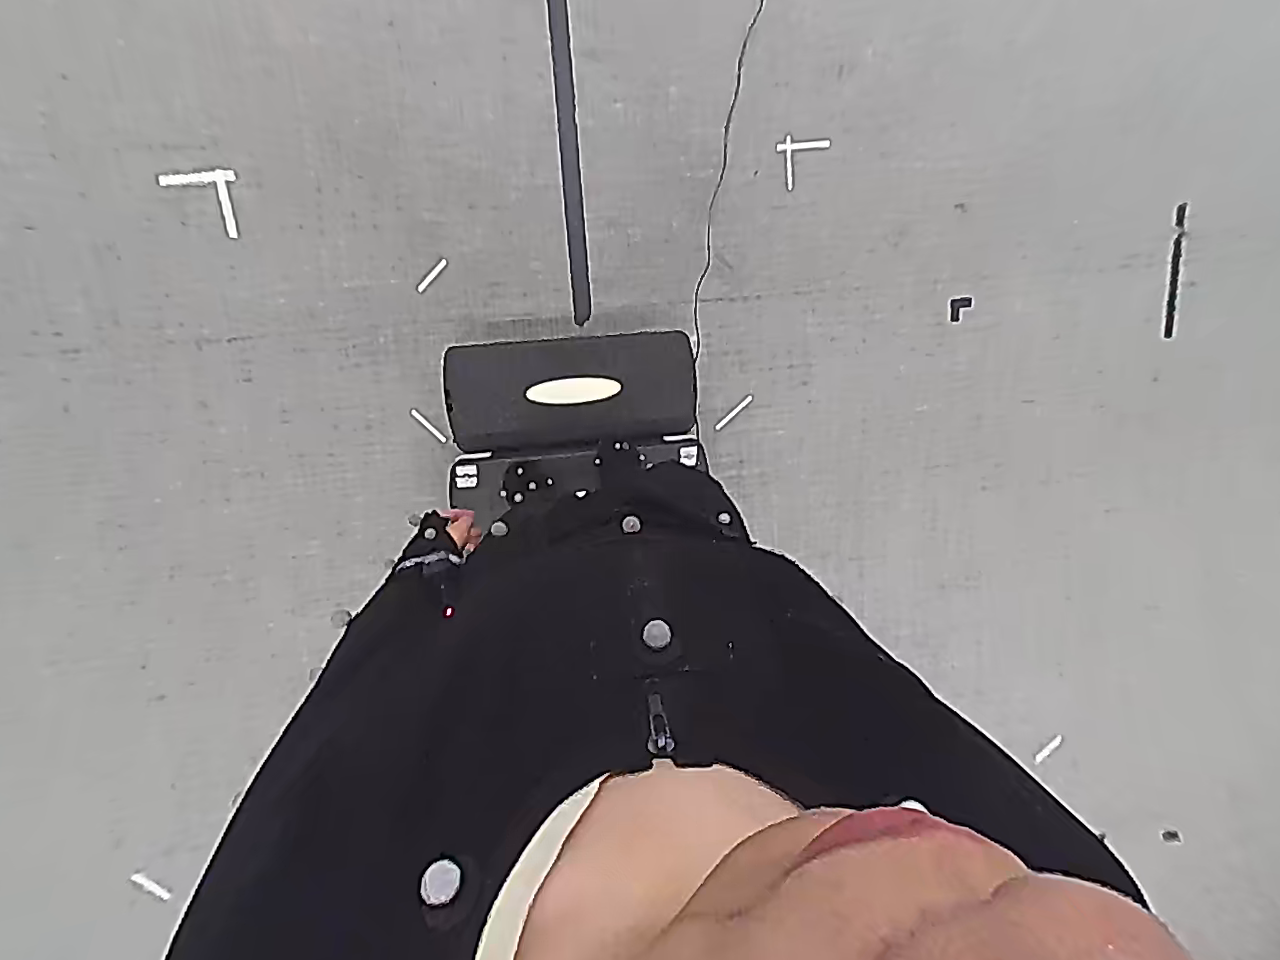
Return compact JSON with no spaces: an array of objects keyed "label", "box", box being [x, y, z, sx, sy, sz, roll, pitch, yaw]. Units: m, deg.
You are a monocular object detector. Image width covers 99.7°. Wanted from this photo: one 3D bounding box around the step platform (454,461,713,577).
[{"label":"step platform","box":[-0.145,0.101,1.469,0.684,0.204,0.286,-1,97,-5]}]
